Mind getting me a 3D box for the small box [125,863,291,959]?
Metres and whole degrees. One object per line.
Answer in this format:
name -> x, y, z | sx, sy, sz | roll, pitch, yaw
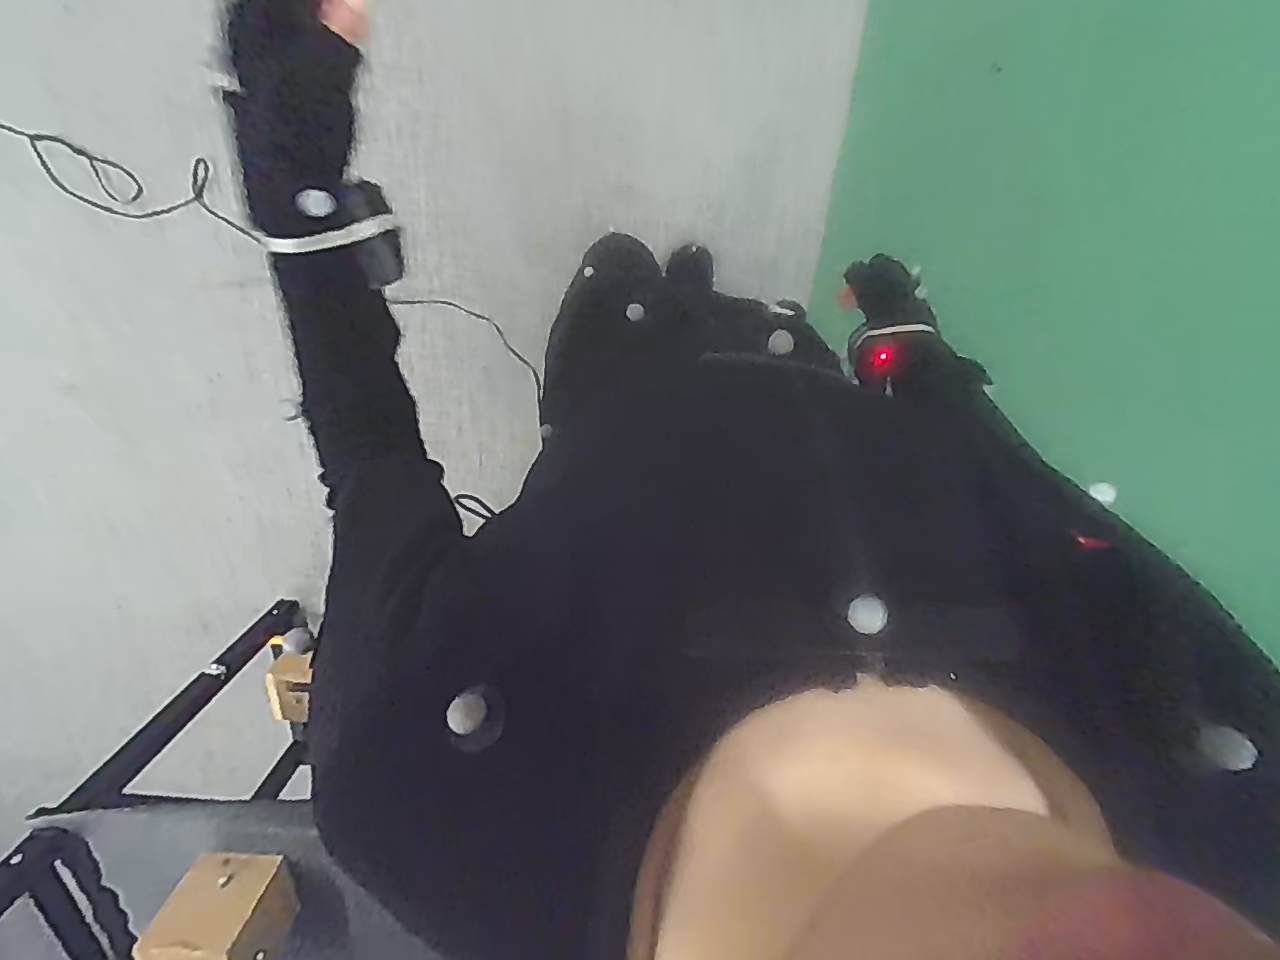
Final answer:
small box -> -0.791, 0.861, 1.011 | 0.168, 0.176, 0.179 | 3, 113, -1
